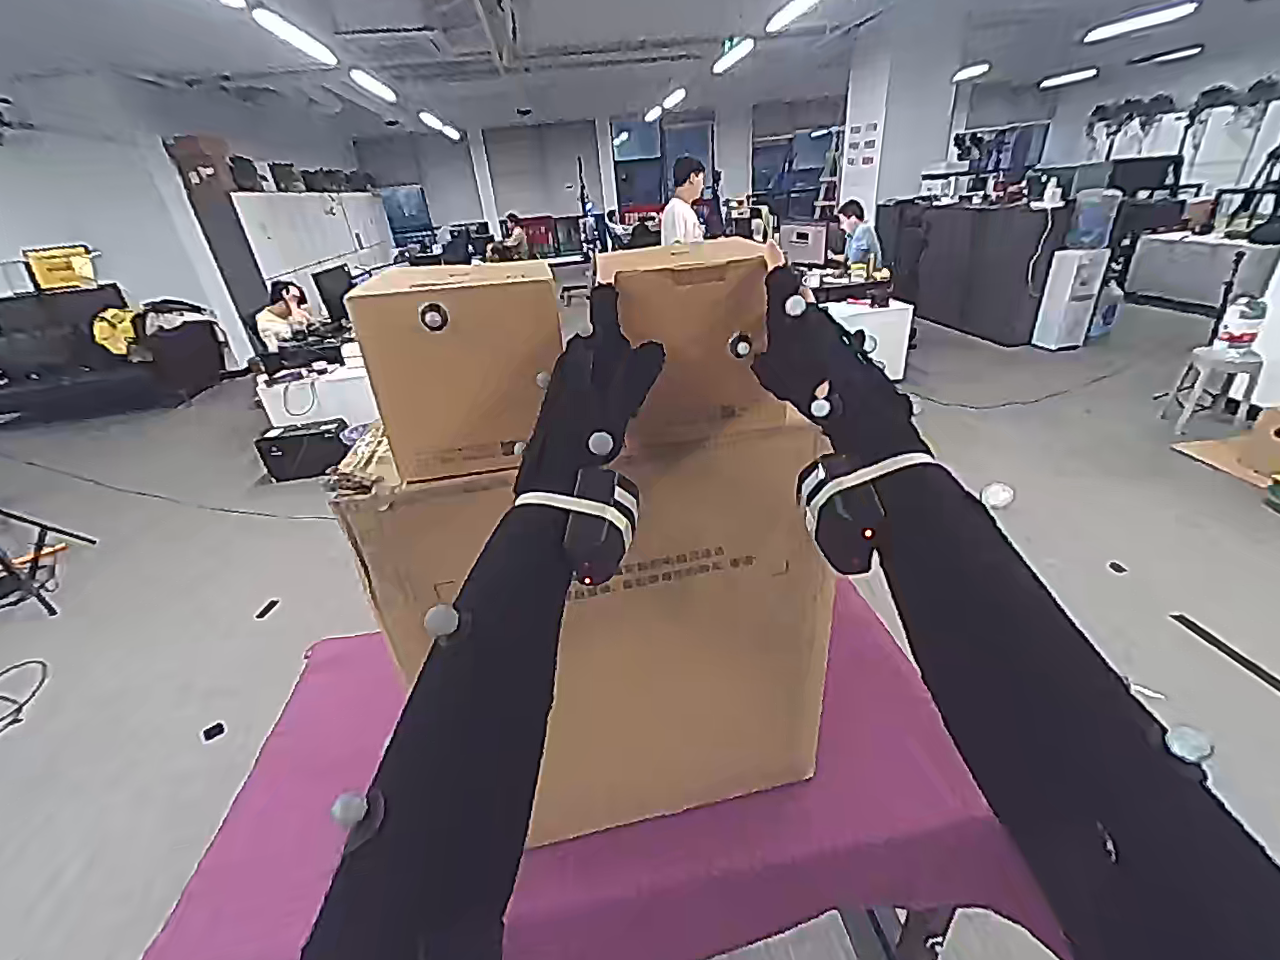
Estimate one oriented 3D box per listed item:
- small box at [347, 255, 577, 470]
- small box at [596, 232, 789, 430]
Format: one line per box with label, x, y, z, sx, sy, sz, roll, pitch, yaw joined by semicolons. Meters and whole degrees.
small box;-0.159;-0.125;0.540;0.168;0.176;0.179;-9;27;-8
small box;0.048;-0.156;0.567;0.168;0.176;0.179;-7;27;-4
